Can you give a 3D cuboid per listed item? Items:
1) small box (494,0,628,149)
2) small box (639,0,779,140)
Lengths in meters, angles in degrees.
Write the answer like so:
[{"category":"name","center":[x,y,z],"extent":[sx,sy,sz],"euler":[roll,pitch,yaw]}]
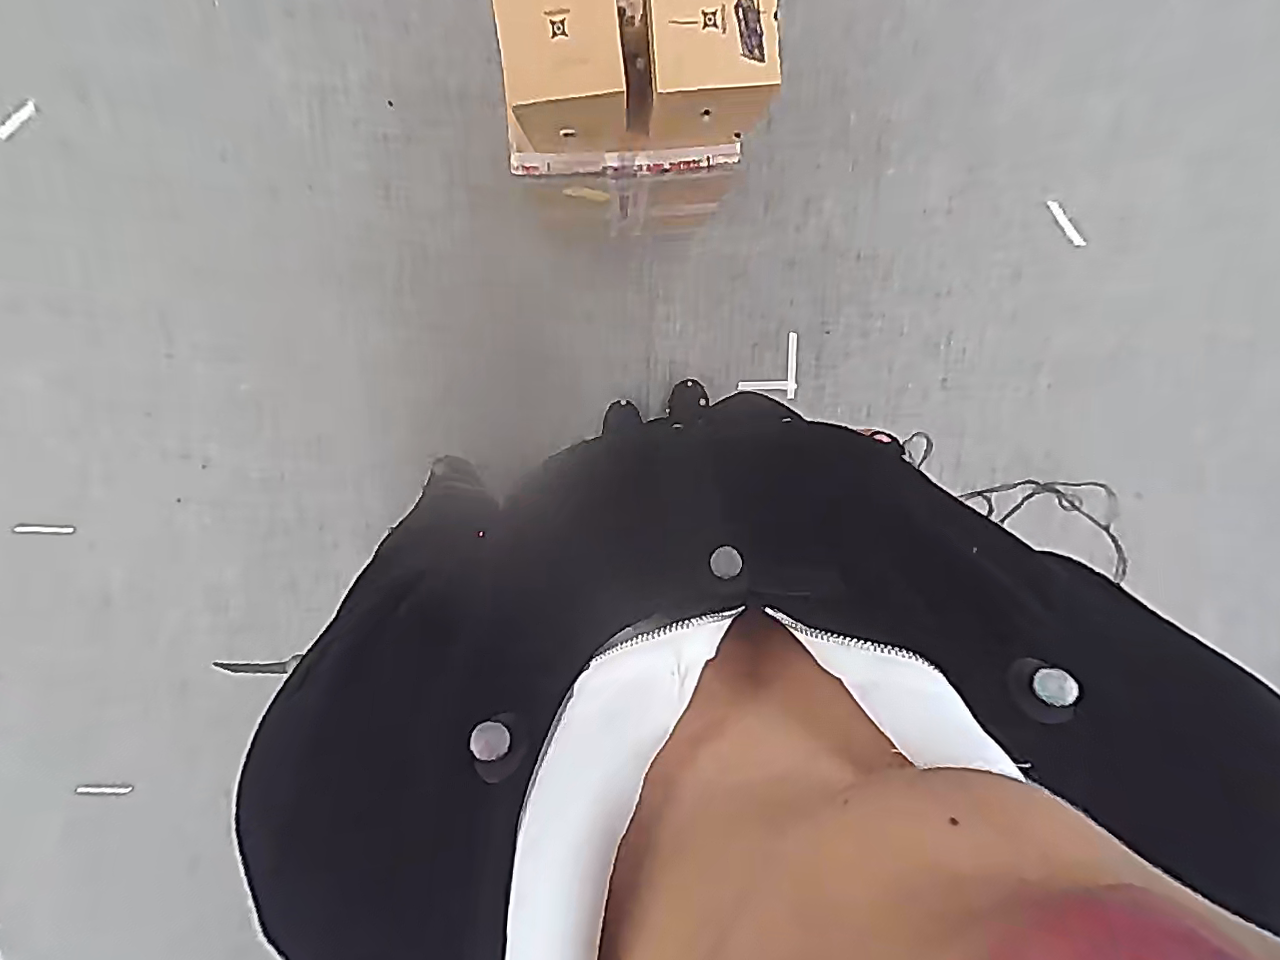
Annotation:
[{"category":"small box","center":[-0.111,-0.627,0.804],"extent":[0.168,0.176,0.179],"euler":[-8,105,1]},{"category":"small box","center":[0.096,-0.635,0.810],"extent":[0.179,0.176,0.168],"euler":[-6,103,-2]}]
